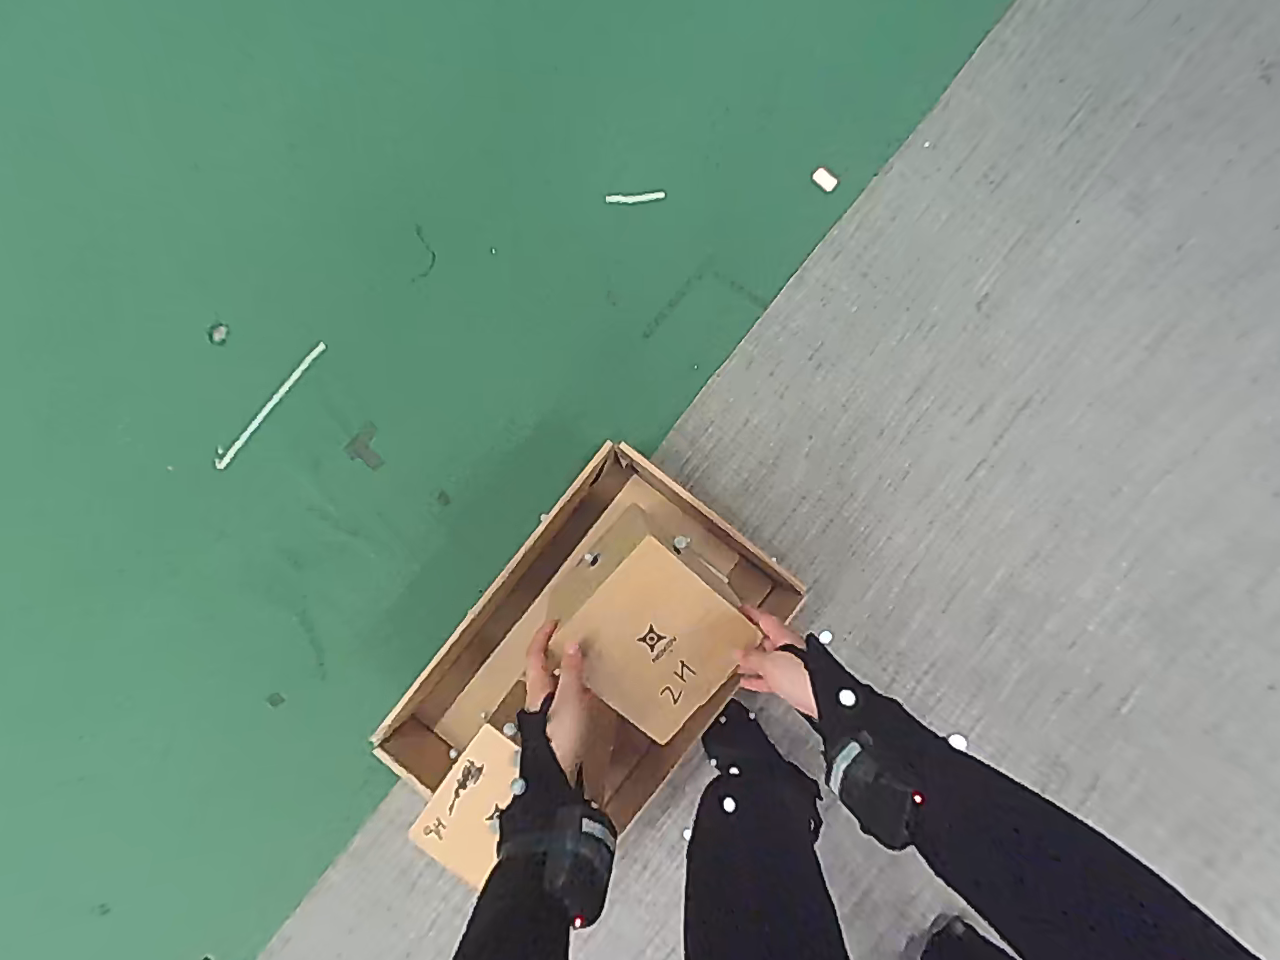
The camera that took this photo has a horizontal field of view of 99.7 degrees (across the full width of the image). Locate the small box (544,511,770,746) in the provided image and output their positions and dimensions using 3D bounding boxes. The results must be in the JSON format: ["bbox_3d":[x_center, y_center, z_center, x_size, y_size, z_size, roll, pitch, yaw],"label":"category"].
[{"bbox_3d":[0.010,0.153,0.626,0.179,0.176,0.168,42,94,-12],"label":"small box"}]
